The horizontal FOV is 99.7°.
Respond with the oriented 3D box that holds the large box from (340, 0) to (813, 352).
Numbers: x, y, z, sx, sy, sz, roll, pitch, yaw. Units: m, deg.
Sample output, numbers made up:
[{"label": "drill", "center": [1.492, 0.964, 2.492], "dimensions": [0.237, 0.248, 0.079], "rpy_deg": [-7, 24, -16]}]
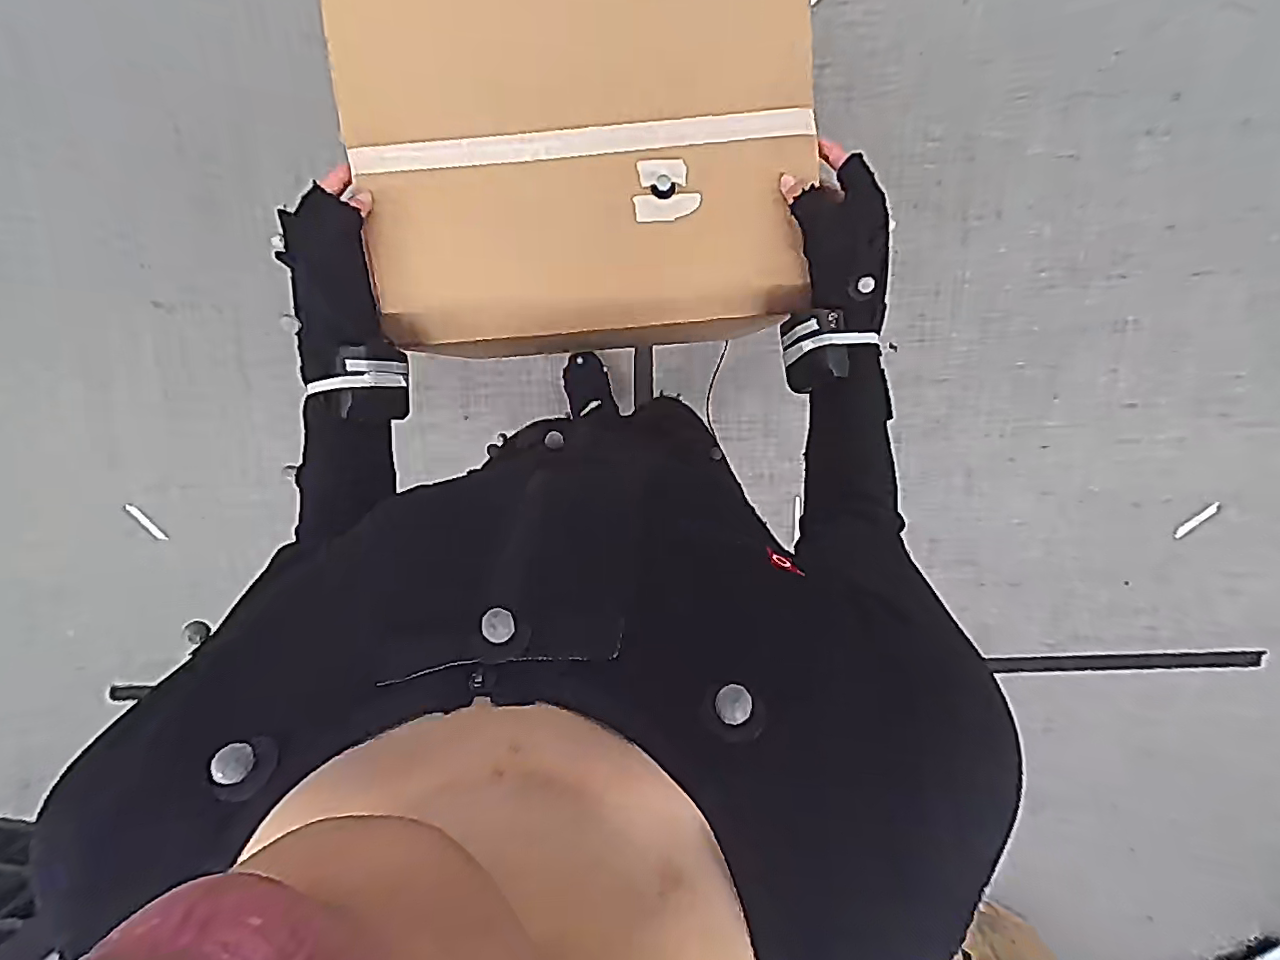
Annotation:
[{"label": "large box", "center": [-0.053, -0.332, 0.628], "dimensions": [0.408, 0.320, 0.320], "rpy_deg": [-5, 101, -1]}]
